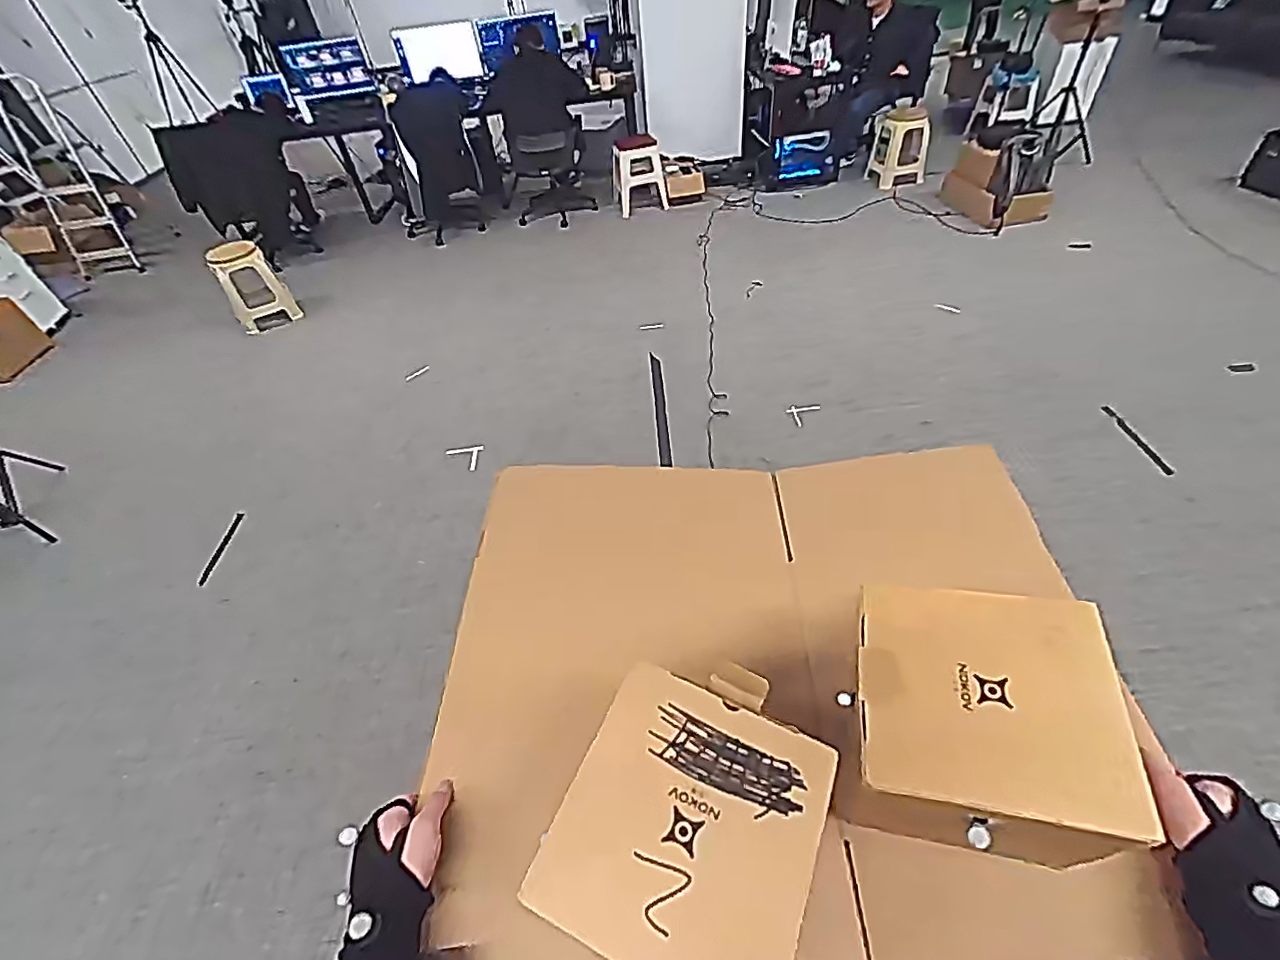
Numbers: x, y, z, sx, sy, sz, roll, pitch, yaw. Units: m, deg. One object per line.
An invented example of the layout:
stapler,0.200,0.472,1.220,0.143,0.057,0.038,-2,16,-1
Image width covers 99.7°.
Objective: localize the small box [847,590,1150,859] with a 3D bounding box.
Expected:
small box,0.282,0.216,0.478,0.179,0.176,0.168,2,52,19
